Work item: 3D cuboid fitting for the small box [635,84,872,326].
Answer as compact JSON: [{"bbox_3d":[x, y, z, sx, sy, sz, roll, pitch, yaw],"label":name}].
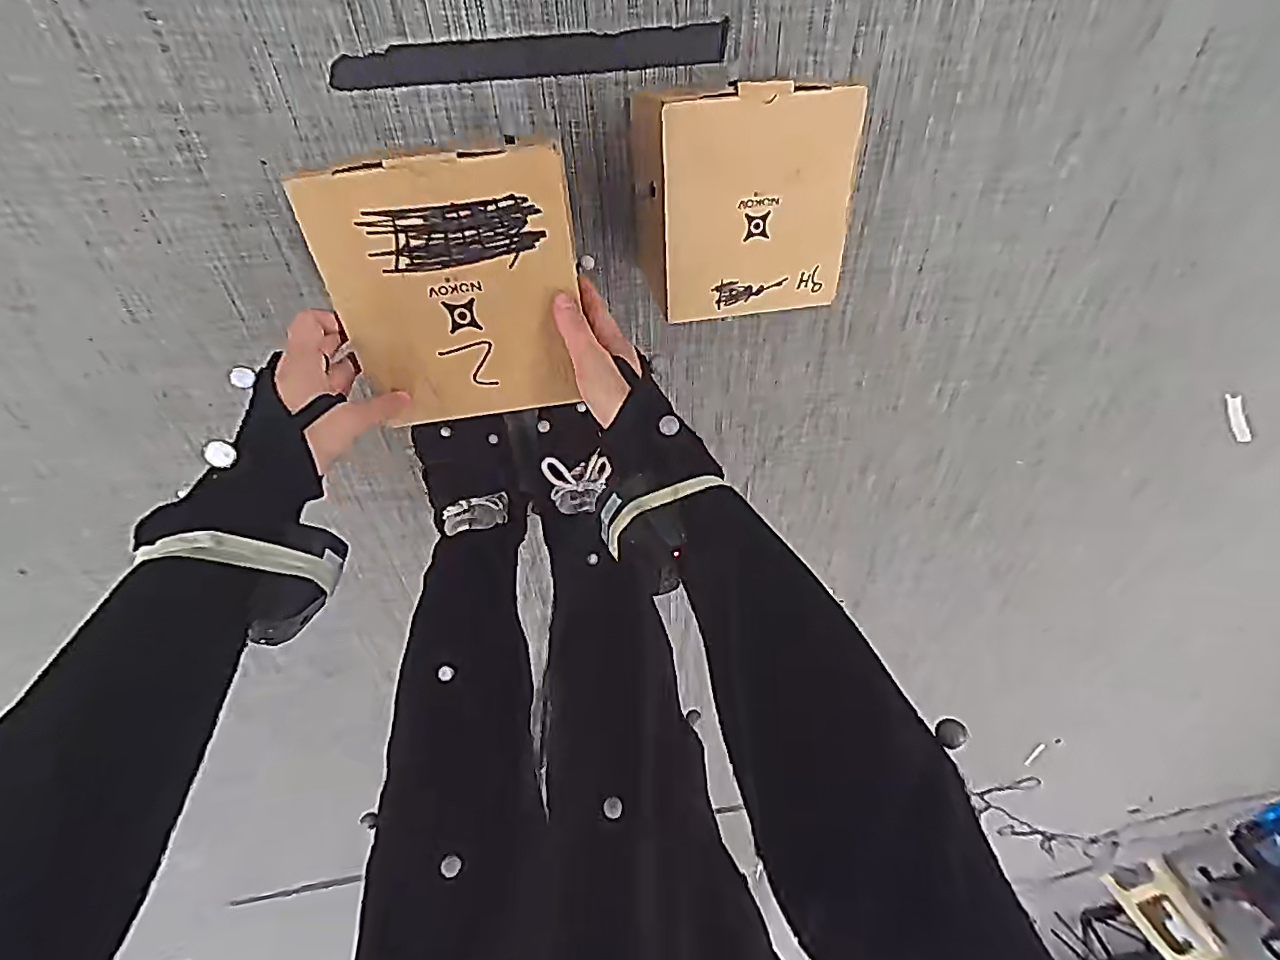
[{"bbox_3d":[0.091,-0.270,0.523,0.168,0.176,0.179,-8,128,-6],"label":"small box"}]
